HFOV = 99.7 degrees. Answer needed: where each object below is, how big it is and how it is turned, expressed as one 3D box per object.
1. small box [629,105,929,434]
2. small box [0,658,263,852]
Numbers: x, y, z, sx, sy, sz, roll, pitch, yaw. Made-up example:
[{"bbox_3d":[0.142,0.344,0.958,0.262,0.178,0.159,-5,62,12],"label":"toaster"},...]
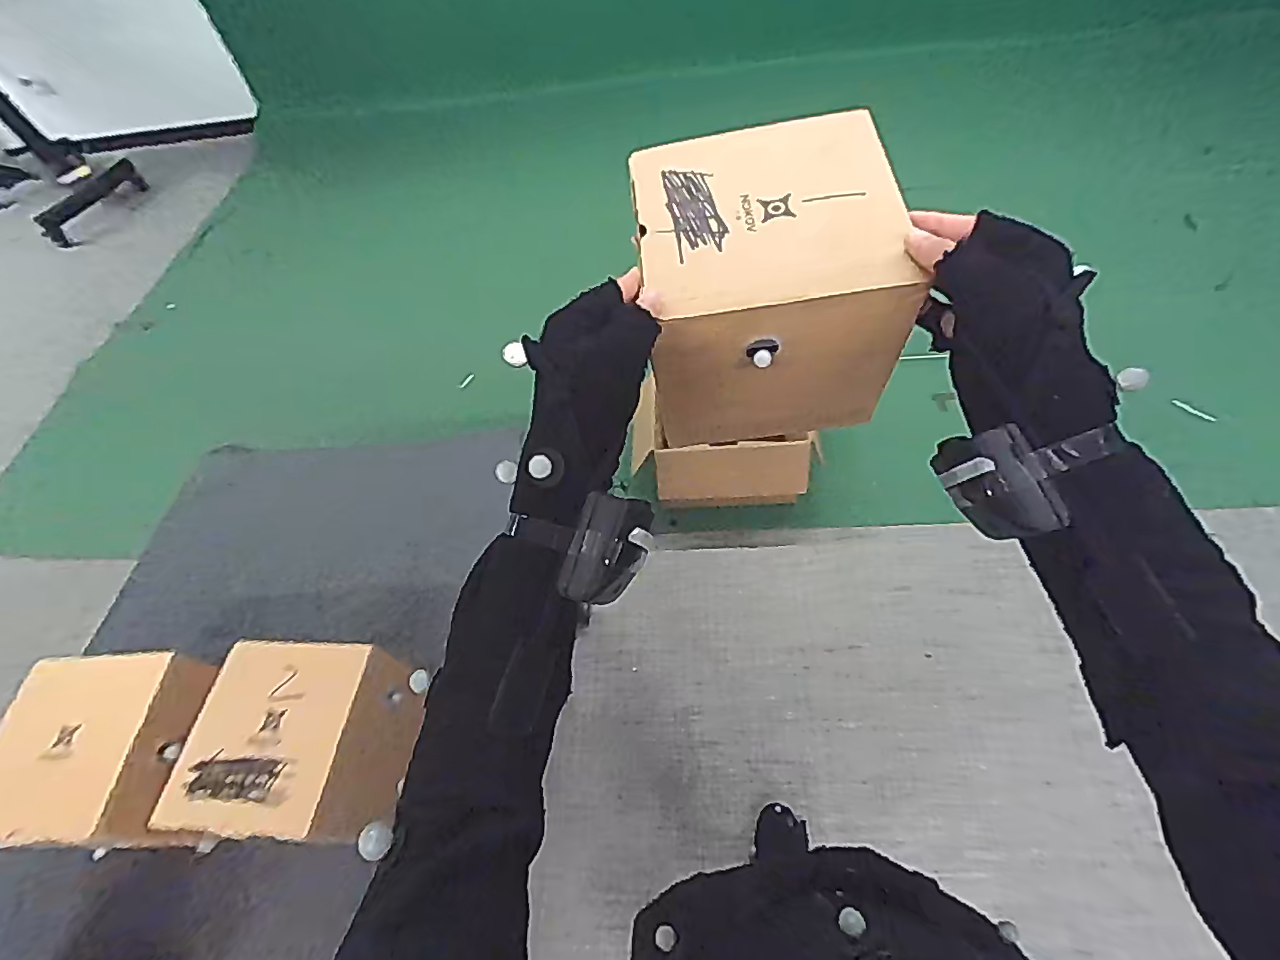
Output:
[{"bbox_3d":[0.094,-0.150,0.432,0.179,0.176,0.168,-7,65,6],"label":"small box"},{"bbox_3d":[-0.582,0.318,0.620,0.168,0.176,0.179,-5,57,4],"label":"small box"}]
